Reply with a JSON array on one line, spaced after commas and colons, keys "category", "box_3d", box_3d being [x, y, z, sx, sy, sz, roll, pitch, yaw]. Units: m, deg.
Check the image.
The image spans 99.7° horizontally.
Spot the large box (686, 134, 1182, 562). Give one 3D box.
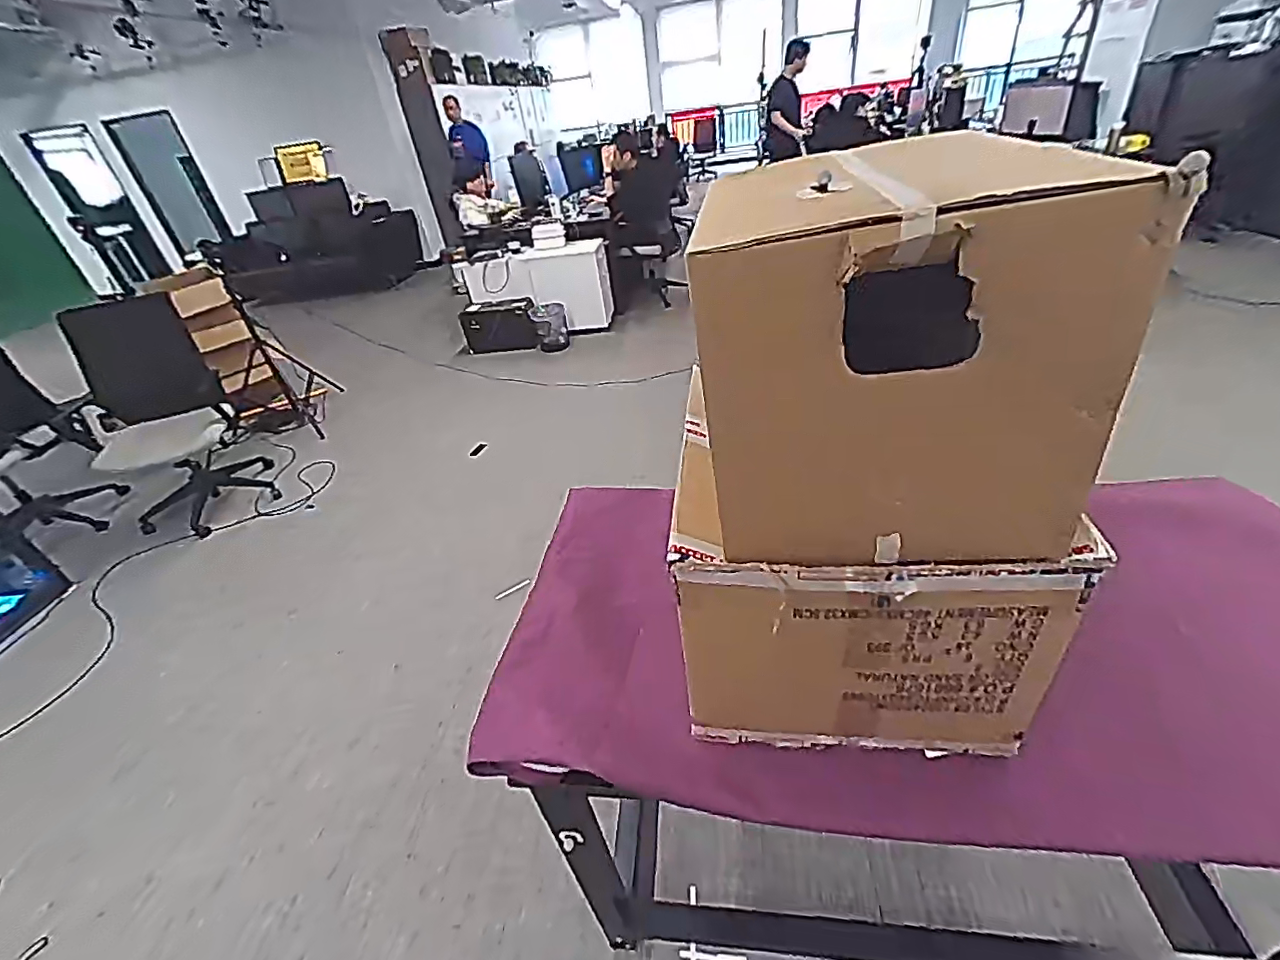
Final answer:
[{"category": "large box", "box_3d": [0.234, -0.162, 0.600, 0.320, 0.320, 0.408, -5, 35, 13]}]
